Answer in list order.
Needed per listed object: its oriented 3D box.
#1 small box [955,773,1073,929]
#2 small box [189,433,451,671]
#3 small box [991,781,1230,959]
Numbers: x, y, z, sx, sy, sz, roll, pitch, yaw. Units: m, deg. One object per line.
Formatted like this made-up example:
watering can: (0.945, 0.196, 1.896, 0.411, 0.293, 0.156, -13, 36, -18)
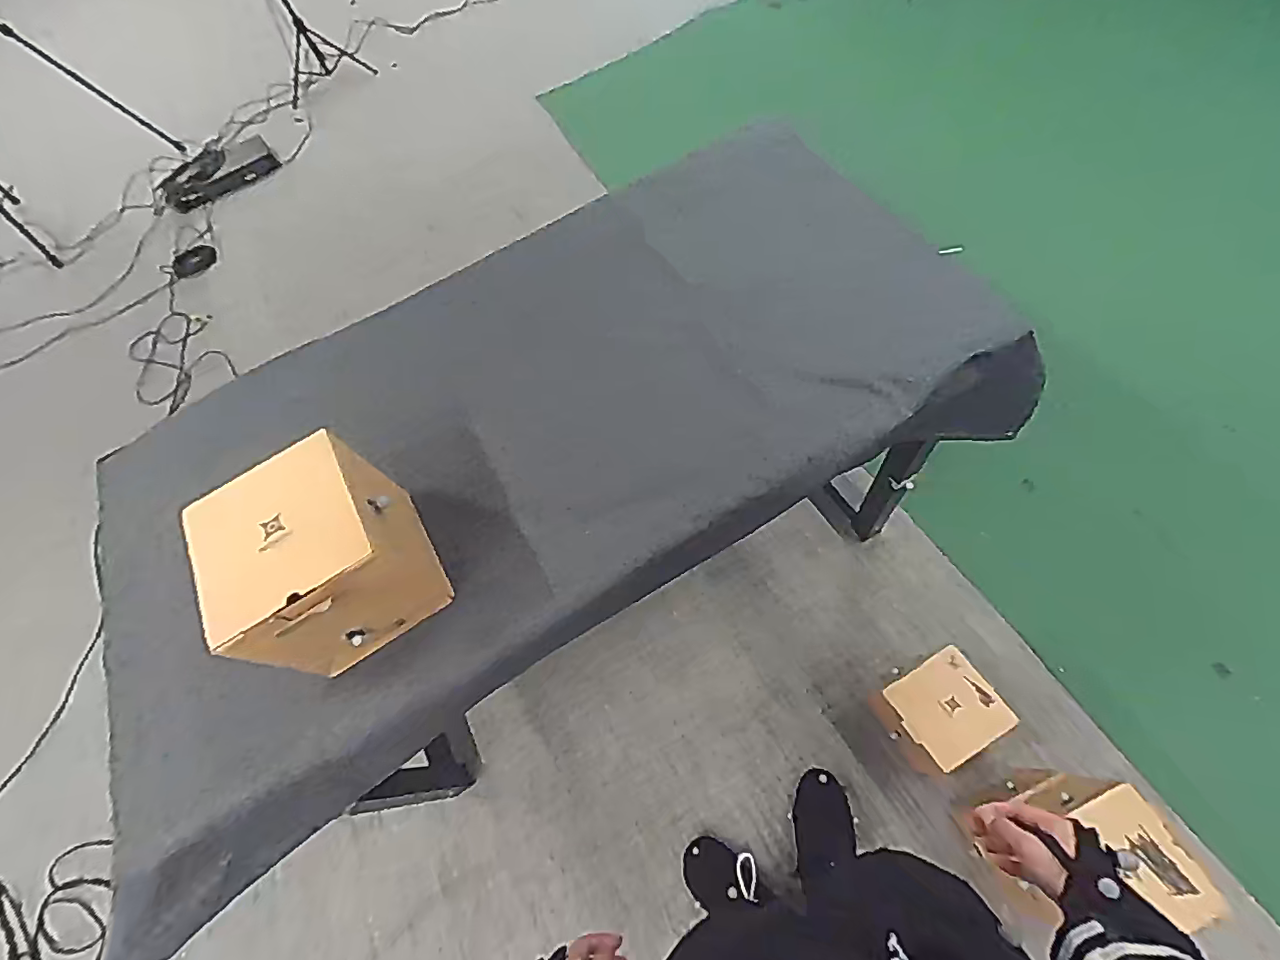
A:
small box: (0.706, 0.641, 0.960, 0.179, 0.176, 0.168, -27, 61, -2)
small box: (-0.344, 0.087, 0.602, 0.168, 0.176, 0.179, -33, 63, -8)
small box: (0.681, 0.574, 0.812, 0.179, 0.176, 0.168, -27, 61, -3)
